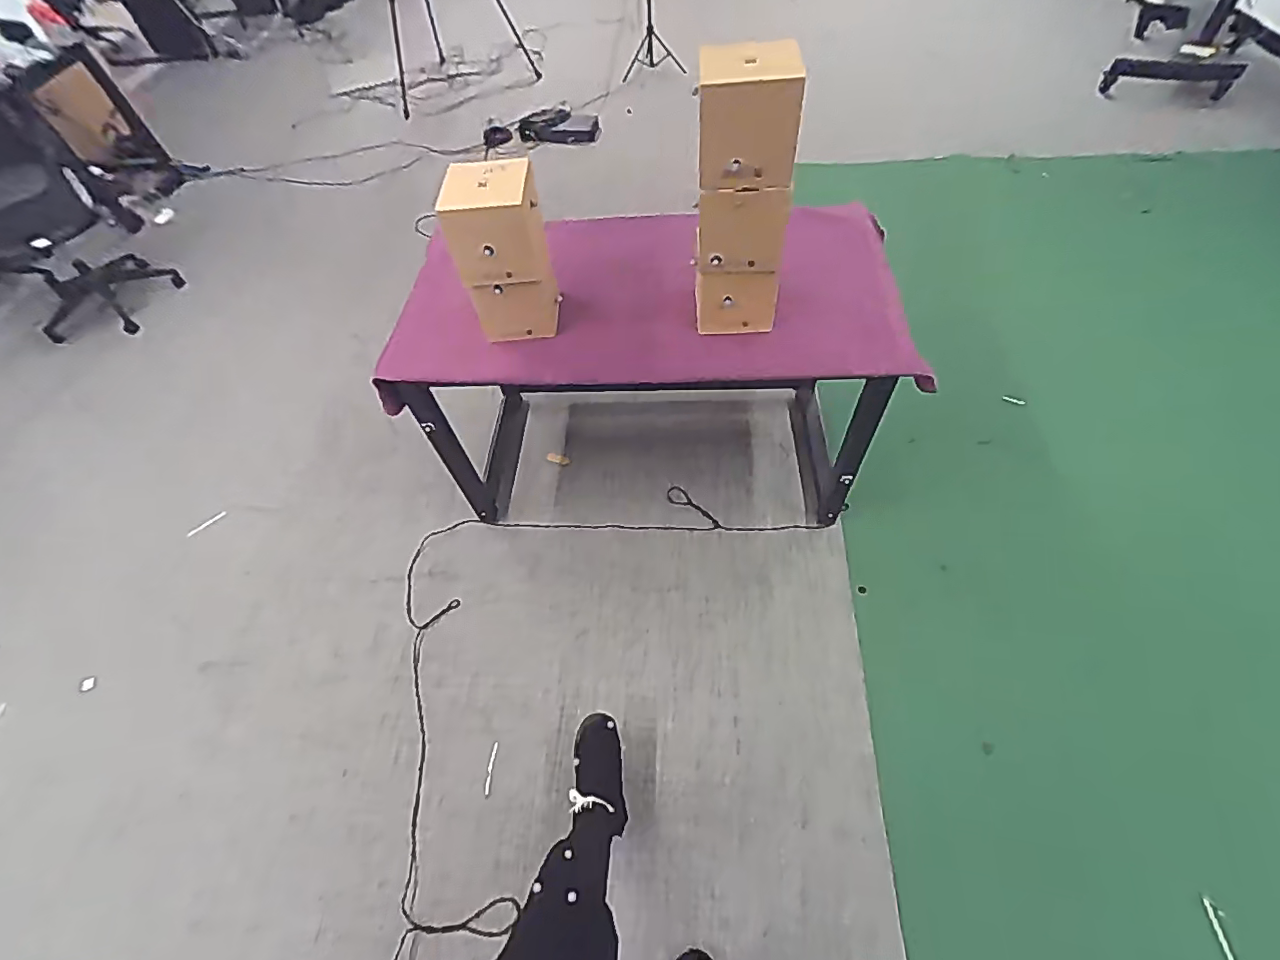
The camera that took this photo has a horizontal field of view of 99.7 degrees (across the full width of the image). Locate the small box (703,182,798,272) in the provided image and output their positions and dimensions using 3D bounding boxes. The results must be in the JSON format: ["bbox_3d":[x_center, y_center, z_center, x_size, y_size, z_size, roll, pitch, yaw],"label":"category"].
[{"bbox_3d":[0.210,-0.529,1.065,0.168,0.176,0.179,1,53,5],"label":"small box"}]

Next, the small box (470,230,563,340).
[{"bbox_3d":[-0.275,-0.448,1.247,0.168,0.176,0.179,-4,55,2],"label":"small box"}]

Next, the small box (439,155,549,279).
[{"bbox_3d":[-0.285,-0.527,1.101,0.168,0.176,0.179,-2,56,2],"label":"small box"}]

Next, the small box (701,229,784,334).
[{"bbox_3d":[0.221,-0.440,1.204,0.168,0.176,0.179,-1,54,4],"label":"small box"}]

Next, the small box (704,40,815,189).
[{"bbox_3d":[0.197,-0.629,0.937,0.168,0.176,0.179,1,55,6],"label":"small box"}]
